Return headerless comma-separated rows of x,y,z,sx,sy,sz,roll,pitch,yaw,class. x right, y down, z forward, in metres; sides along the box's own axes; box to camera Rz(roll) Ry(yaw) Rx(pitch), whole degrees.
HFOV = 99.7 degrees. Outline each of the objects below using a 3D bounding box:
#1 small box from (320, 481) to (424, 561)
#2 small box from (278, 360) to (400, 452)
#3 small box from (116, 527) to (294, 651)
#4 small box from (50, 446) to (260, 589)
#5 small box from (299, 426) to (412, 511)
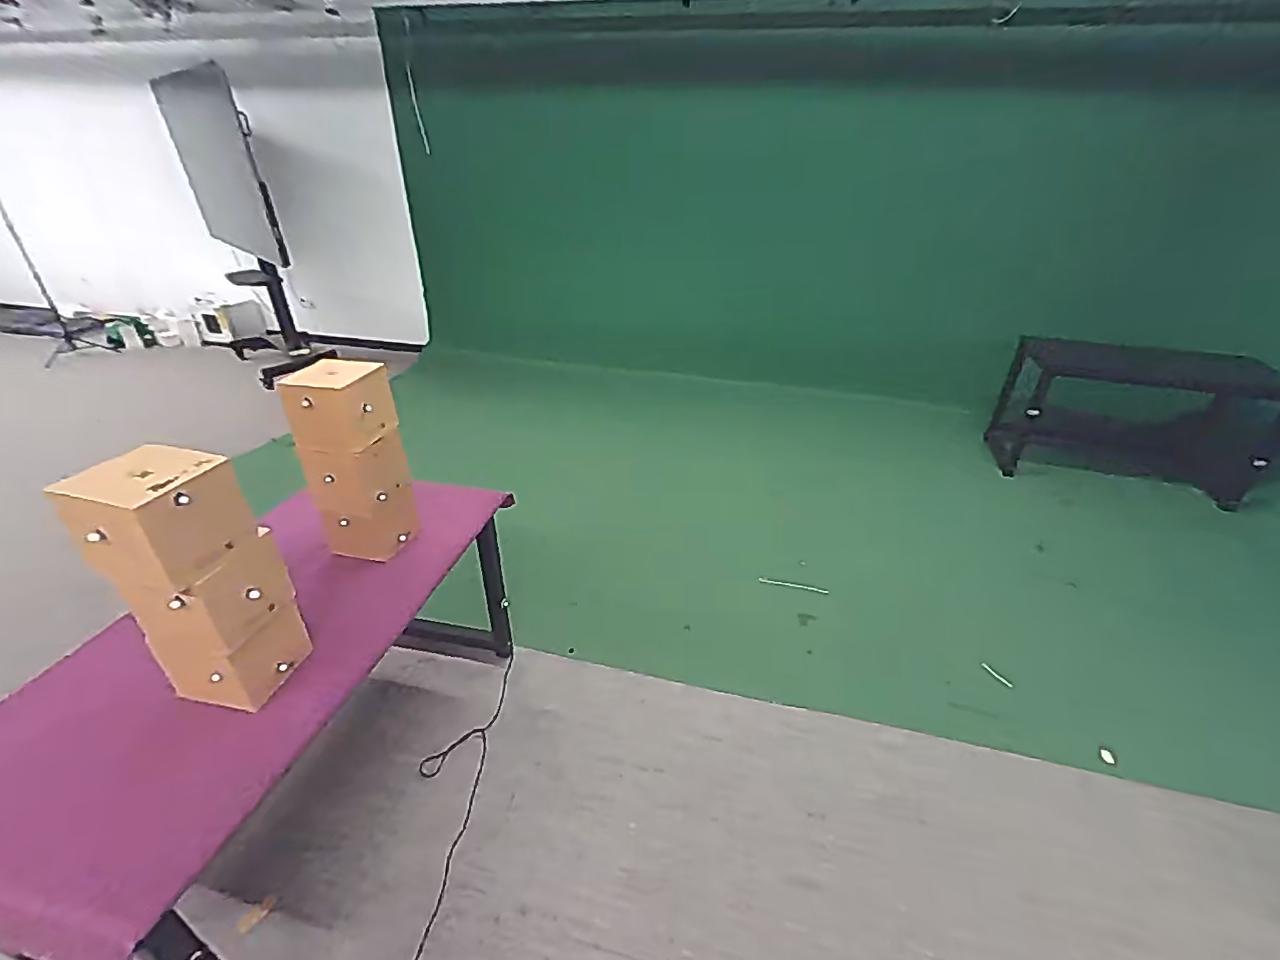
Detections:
-0.725,0.102,1.482,0.179,0.176,0.168,8,33,12,small box
-0.721,-0.180,1.319,0.179,0.176,0.168,5,33,11,small box
-0.793,0.194,1.007,0.179,0.176,0.168,7,31,9,small box
-0.797,0.061,0.909,0.179,0.176,0.168,8,32,11,small box
-0.722,-0.036,1.395,0.179,0.176,0.168,6,33,13,small box
